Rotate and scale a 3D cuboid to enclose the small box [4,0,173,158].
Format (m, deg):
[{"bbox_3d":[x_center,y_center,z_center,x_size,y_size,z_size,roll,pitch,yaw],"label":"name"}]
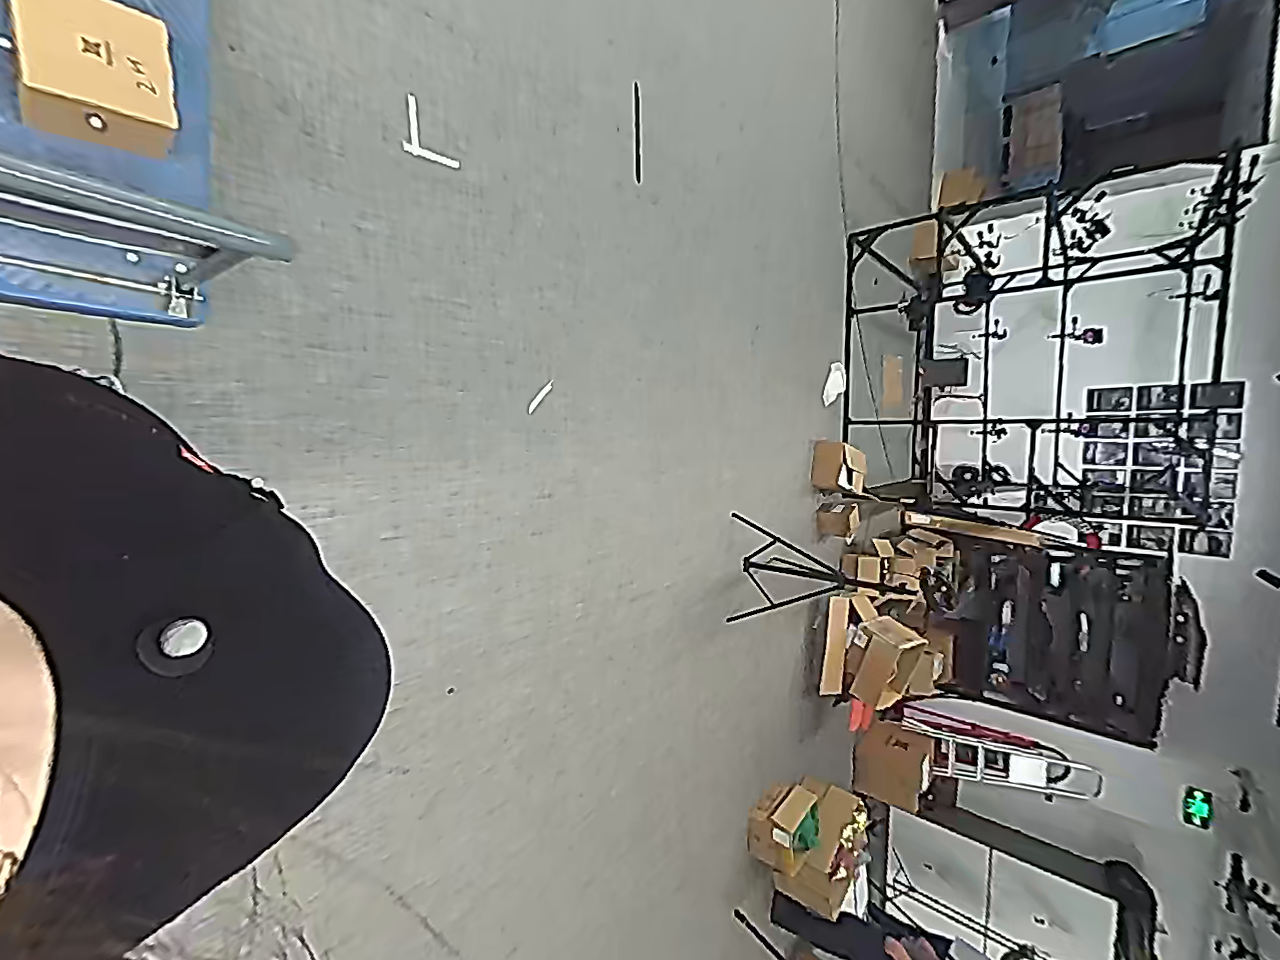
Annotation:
[{"bbox_3d":[-0.900,-0.660,0.885,0.179,0.176,0.168,-9,100,-49],"label":"small box"}]
